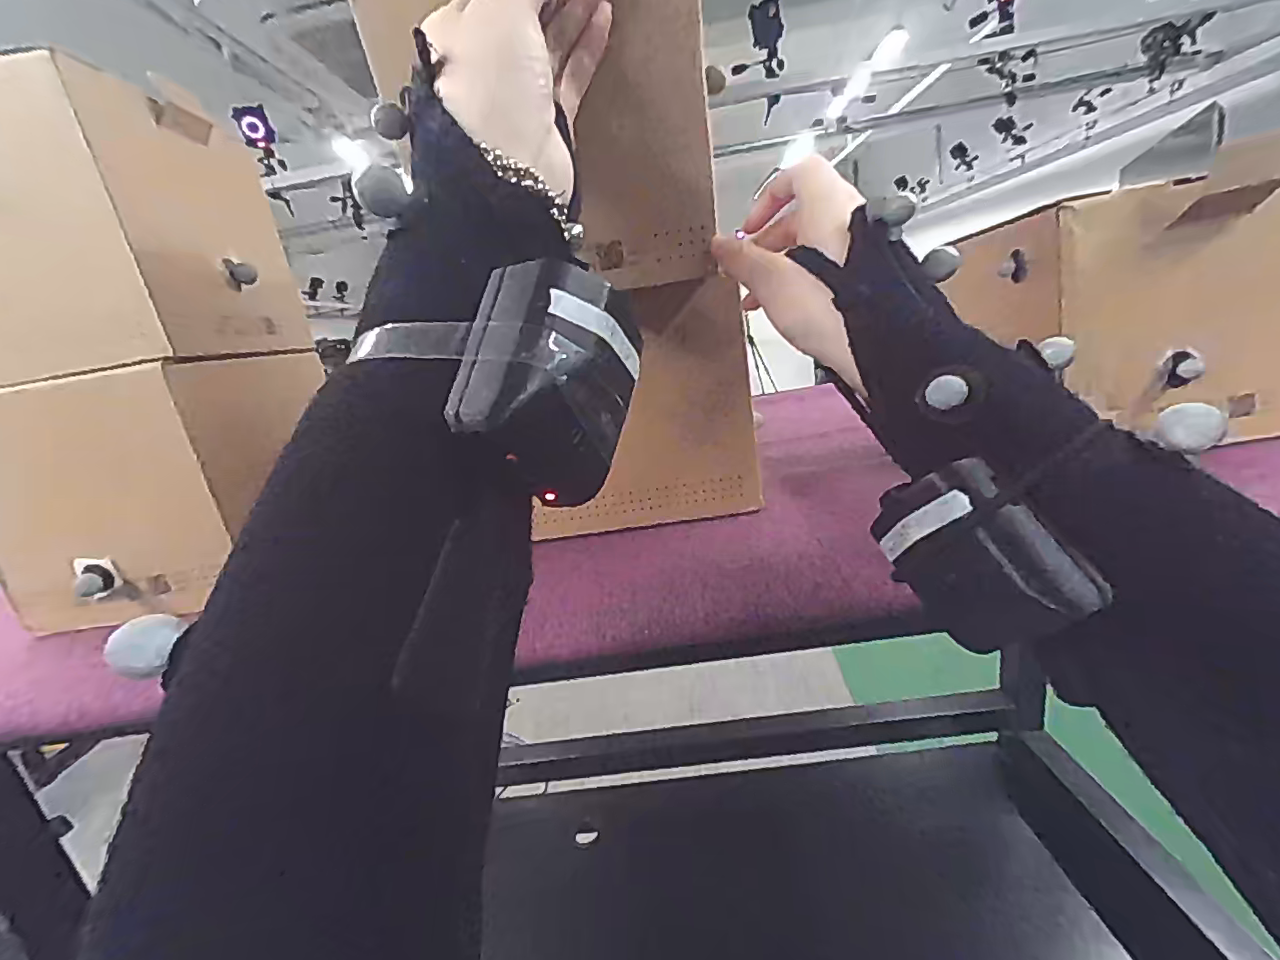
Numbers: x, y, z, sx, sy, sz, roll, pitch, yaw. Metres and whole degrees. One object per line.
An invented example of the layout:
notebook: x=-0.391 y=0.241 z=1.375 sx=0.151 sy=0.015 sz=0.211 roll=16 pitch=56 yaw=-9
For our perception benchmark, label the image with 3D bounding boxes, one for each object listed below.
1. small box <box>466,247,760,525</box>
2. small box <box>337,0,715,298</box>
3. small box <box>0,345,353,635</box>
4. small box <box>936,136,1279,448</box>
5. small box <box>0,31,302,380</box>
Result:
small box: x=-0.011 y=-0.070 z=0.434 sx=0.179 sy=0.176 sz=0.168 roll=-8 pitch=14 yaw=4
small box: x=-0.045 y=-0.222 z=0.344 sx=0.168 sy=0.176 sz=0.179 roll=-6 pitch=29 yaw=8
small box: x=-0.355 y=-0.005 z=0.423 sx=0.168 sy=0.176 sz=0.179 roll=-11 pitch=17 yaw=1
small box: x=0.344 y=-0.126 z=0.402 sx=0.168 sy=0.176 sz=0.179 roll=-10 pitch=14 yaw=7
small box: x=-0.389 y=-0.161 z=0.381 sx=0.179 sy=0.176 sz=0.168 roll=-11 pitch=16 yaw=0
